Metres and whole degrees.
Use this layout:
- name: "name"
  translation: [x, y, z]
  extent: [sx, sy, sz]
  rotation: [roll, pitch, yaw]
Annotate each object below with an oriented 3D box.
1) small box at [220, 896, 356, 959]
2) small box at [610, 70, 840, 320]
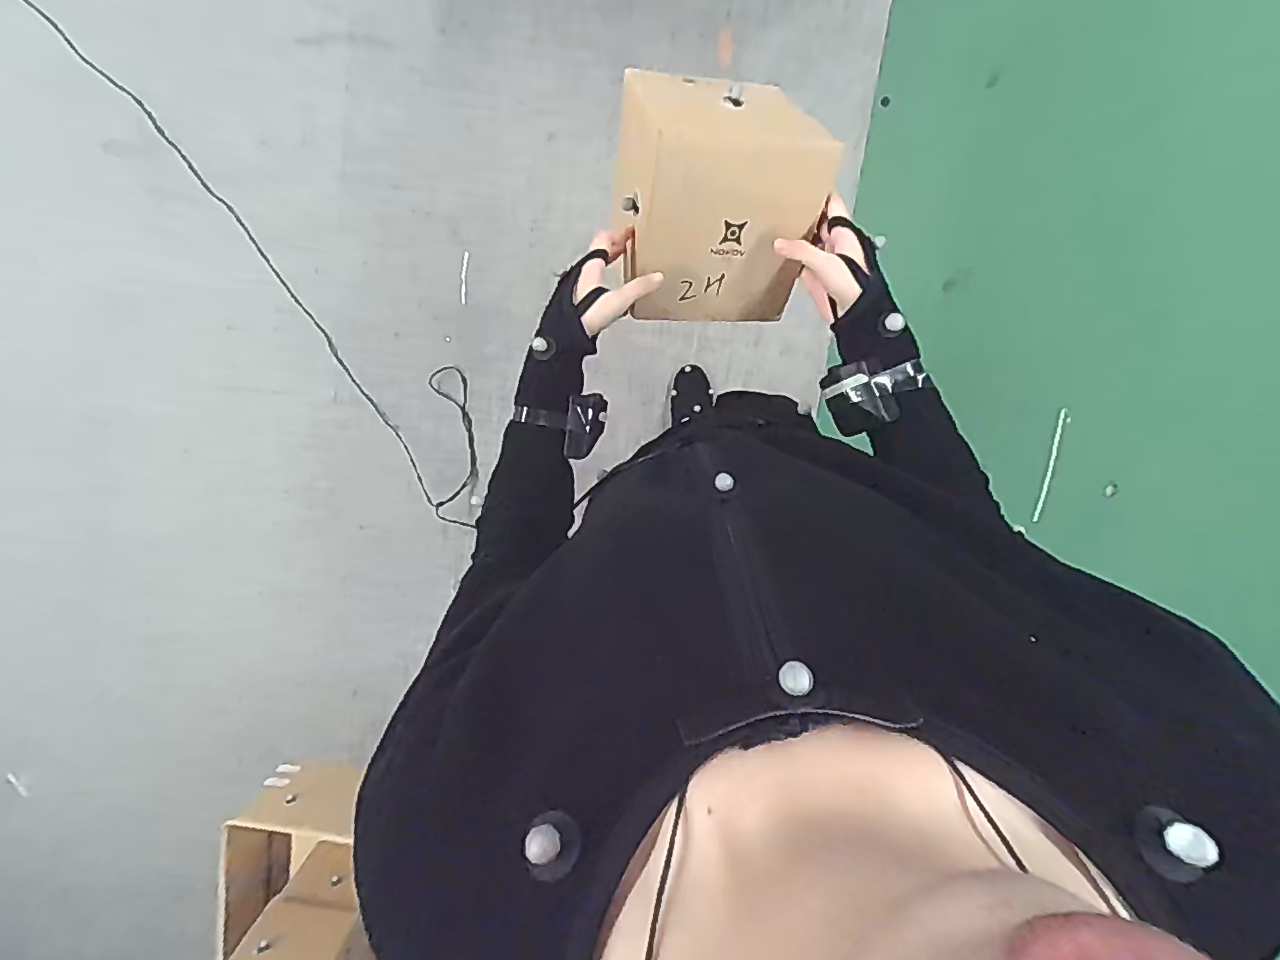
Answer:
- name: "small box"
  translation: [-0.668, 0.926, 1.008]
  extent: [0.179, 0.176, 0.168]
  rotation: [13, 99, -2]
- name: "small box"
  translation: [0.066, -0.287, 0.551]
  extent: [0.168, 0.176, 0.179]
  rotation: [-3, 141, -12]
